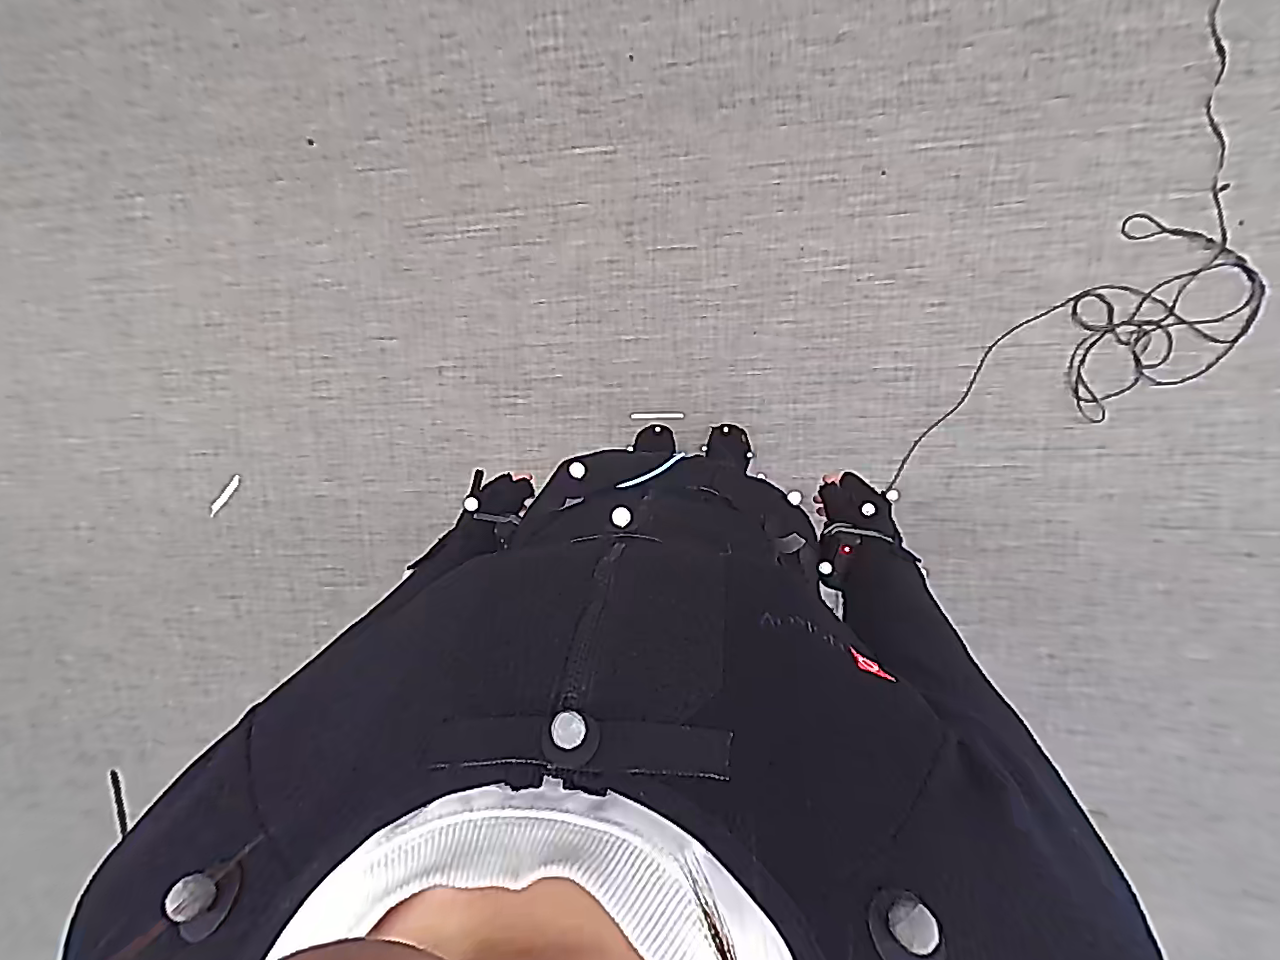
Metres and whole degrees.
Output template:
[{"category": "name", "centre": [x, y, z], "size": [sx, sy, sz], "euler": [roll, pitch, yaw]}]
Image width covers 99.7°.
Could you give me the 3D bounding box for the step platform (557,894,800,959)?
[{"category": "step platform", "centre": [0.107, 1.396, 1.522], "size": [0.684, 0.204, 0.286], "euler": [-2, 97, 9]}]
